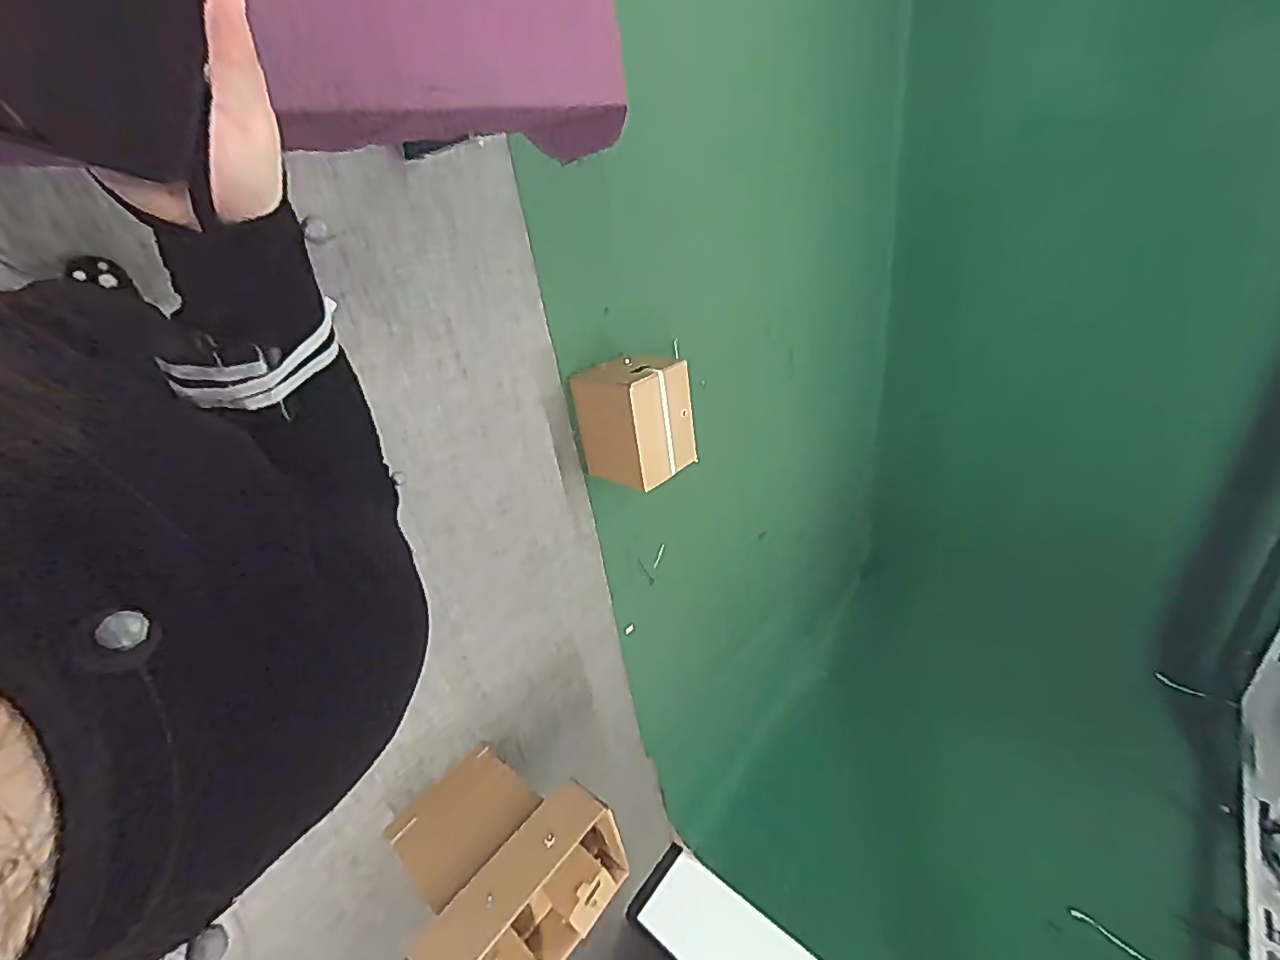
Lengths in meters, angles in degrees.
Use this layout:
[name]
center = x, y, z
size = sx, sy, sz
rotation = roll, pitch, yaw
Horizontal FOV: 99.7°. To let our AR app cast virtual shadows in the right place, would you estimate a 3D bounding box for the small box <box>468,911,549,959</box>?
[small box]
center = -0.378, 1.417, 1.577
size = 0.168, 0.176, 0.179
rotation = -27, 121, -40
